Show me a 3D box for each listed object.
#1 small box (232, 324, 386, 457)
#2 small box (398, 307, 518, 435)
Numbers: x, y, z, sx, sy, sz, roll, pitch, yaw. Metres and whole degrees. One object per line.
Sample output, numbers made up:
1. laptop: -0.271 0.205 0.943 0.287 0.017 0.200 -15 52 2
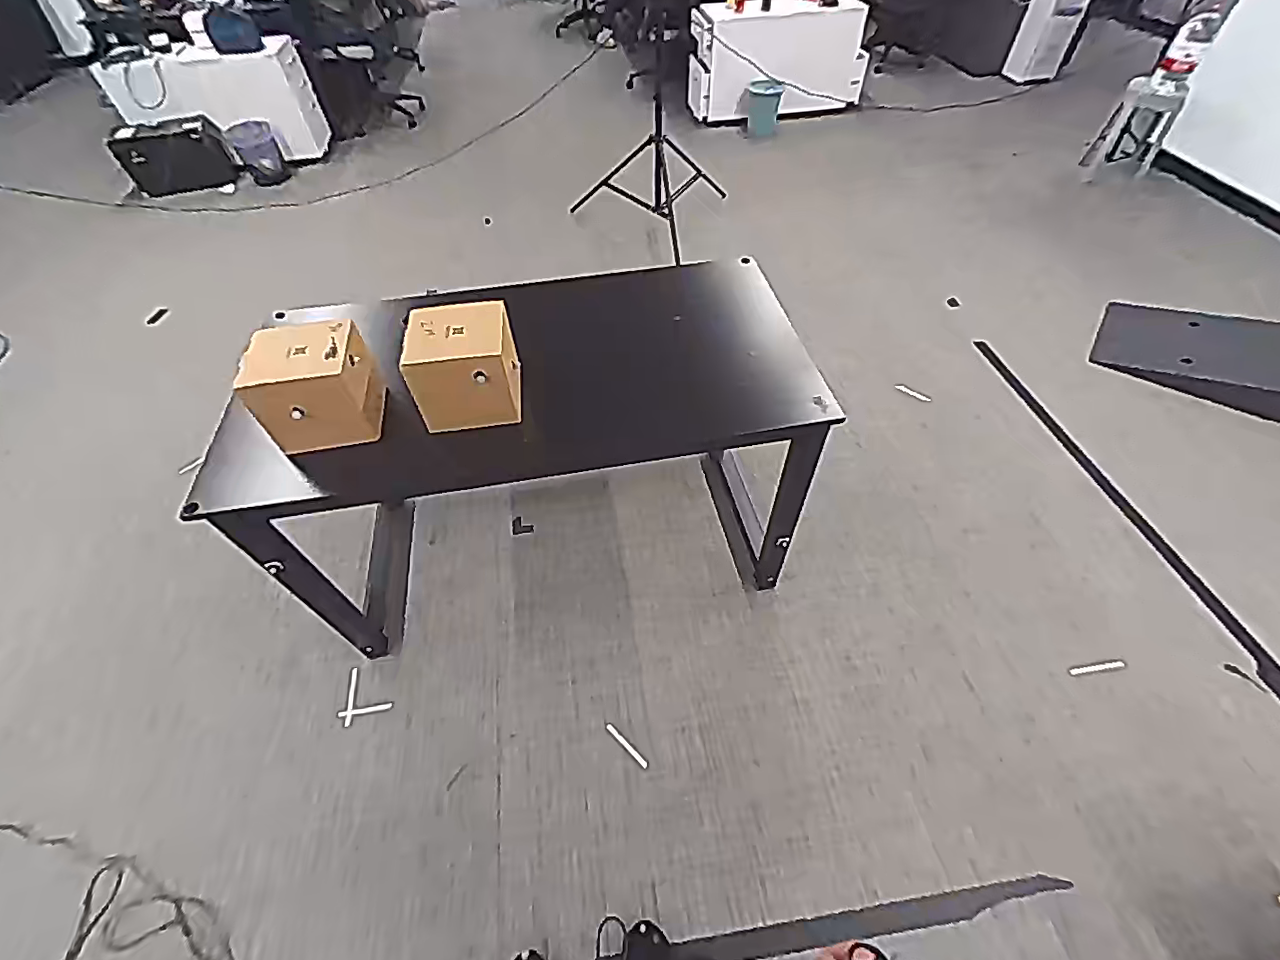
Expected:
1. small box: -0.603 -0.163 1.011 0.179 0.176 0.168 -11 52 -6
2. small box: -0.334 -0.205 1.034 0.179 0.176 0.168 -8 51 -4
